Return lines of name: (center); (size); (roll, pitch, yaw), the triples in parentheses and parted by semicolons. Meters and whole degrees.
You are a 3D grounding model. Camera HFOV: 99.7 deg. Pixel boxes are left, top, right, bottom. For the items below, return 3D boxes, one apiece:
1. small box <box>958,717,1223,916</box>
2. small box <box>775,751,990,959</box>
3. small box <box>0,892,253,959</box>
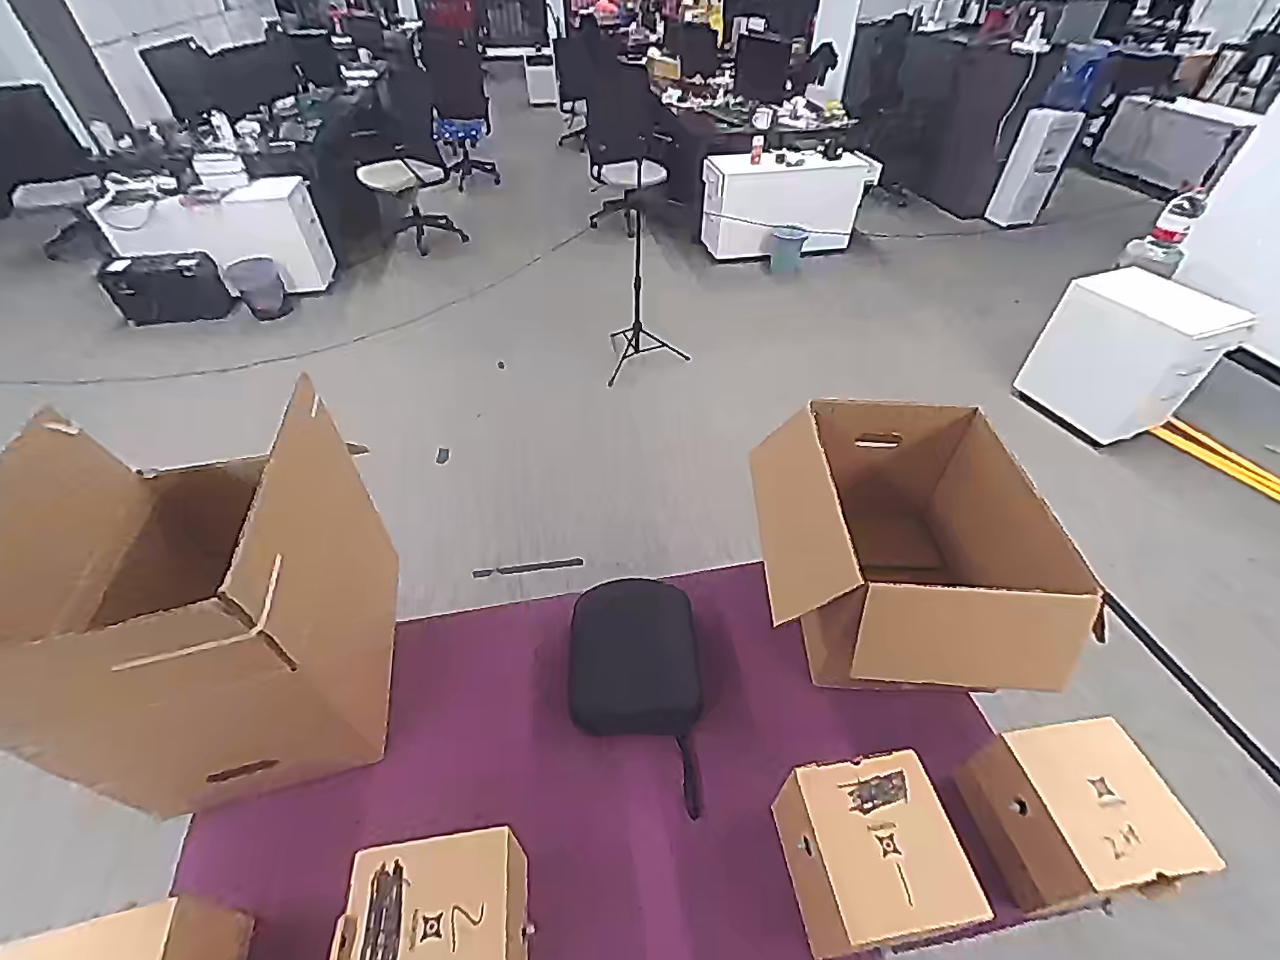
small box: (0.567, 0.444, 0.716); (0.168, 0.176, 0.179); (-6, 44, -5)
small box: (0.285, 0.475, 0.687); (0.168, 0.176, 0.179); (-6, 45, -6)
small box: (-0.567, 0.580, 0.580); (0.179, 0.176, 0.168); (-9, 45, -11)
